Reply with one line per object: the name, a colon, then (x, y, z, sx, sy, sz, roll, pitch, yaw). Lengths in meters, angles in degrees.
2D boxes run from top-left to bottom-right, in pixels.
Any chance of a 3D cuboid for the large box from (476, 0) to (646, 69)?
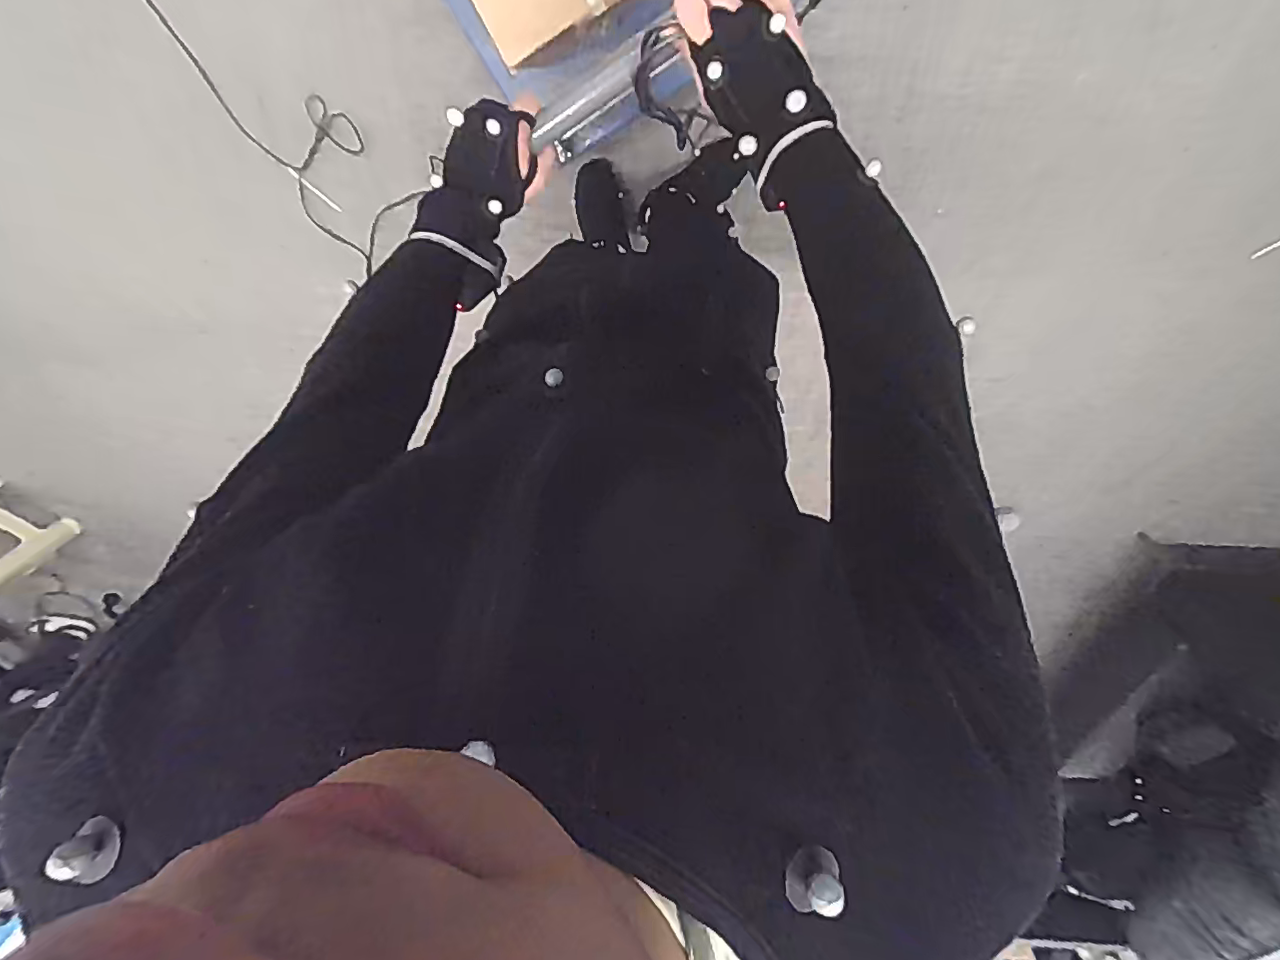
large box: (-0.136, -0.895, 0.771, 0.320, 0.320, 0.408, -20, 124, 18)
